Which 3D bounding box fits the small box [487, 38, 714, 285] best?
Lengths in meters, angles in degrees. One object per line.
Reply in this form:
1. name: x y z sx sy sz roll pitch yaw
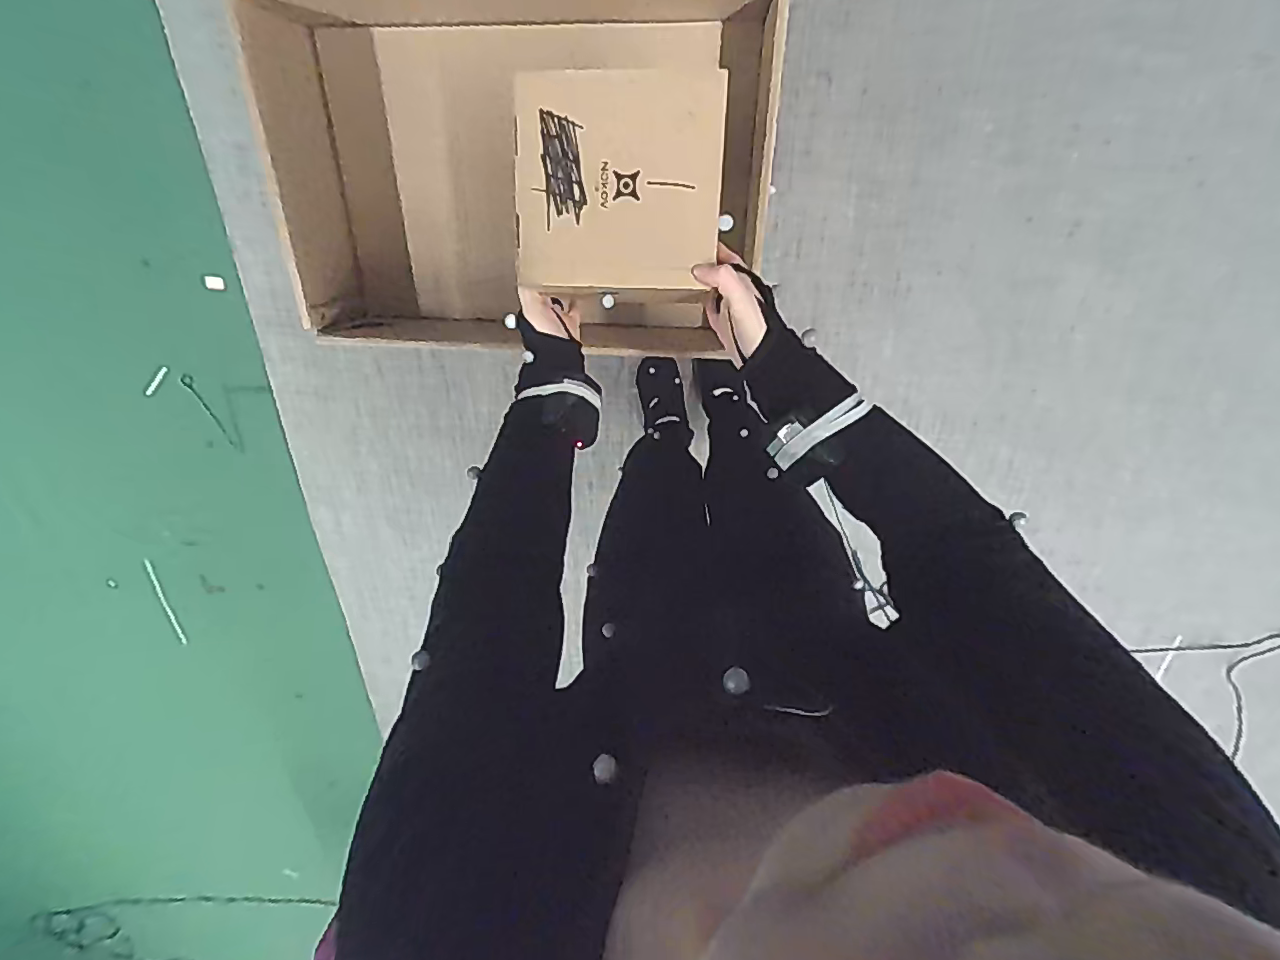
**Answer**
1. small box: -0.025 -0.274 0.504 0.179 0.176 0.168 2 107 5
